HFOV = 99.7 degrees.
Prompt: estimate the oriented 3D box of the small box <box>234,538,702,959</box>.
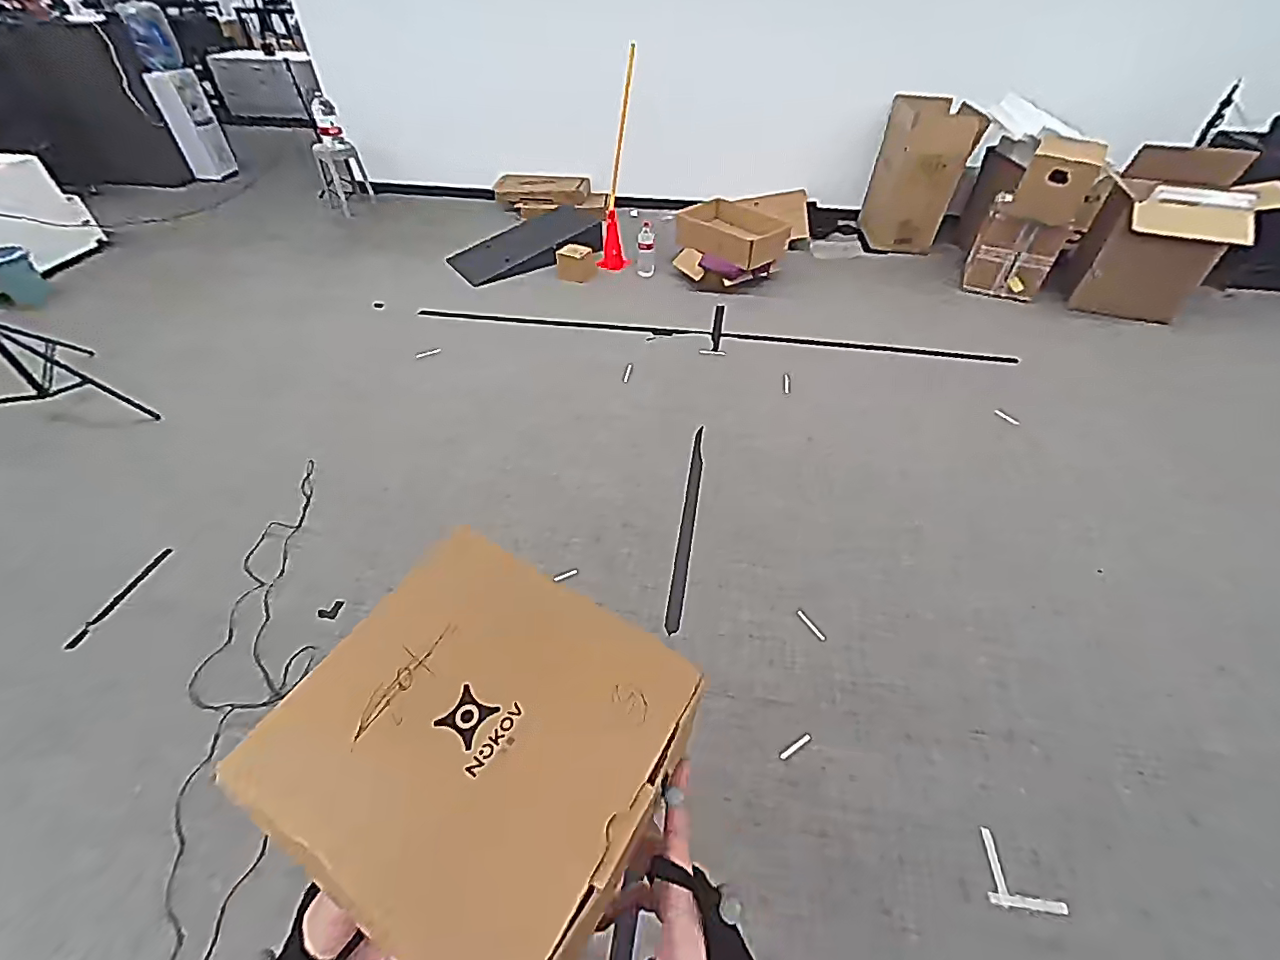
[{"bbox_3d":[-0.080,0.173,0.336,0.179,0.176,0.168,25,55,19],"label":"small box"}]
